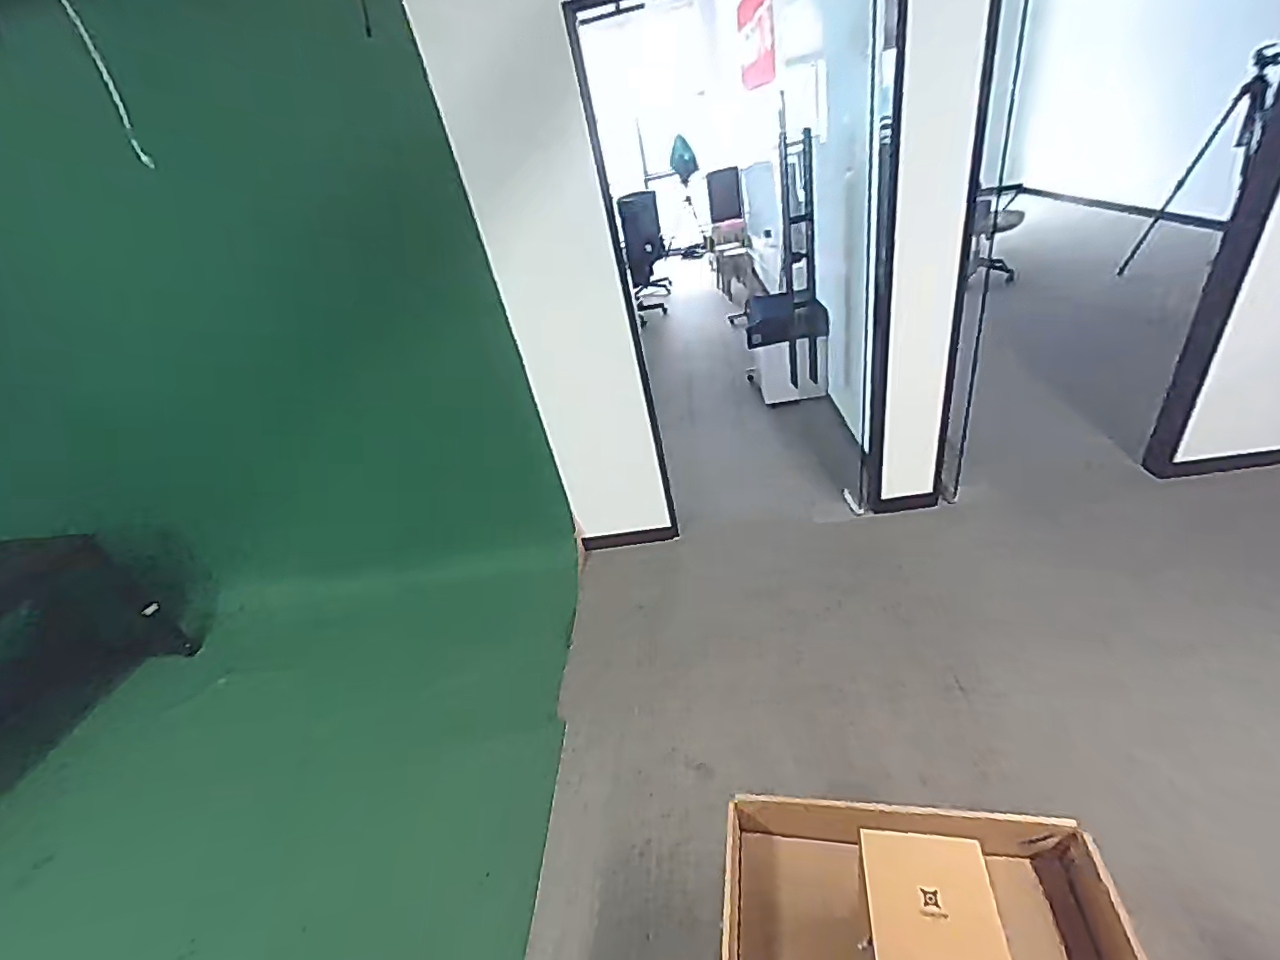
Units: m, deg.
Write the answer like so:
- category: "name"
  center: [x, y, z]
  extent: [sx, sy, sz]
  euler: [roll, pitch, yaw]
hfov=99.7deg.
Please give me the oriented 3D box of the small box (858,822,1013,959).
- category: "small box"
  center: [0.416, 0.639, 0.787]
  extent: [0.168, 0.176, 0.179]
  euler: [-4, 34, 16]
